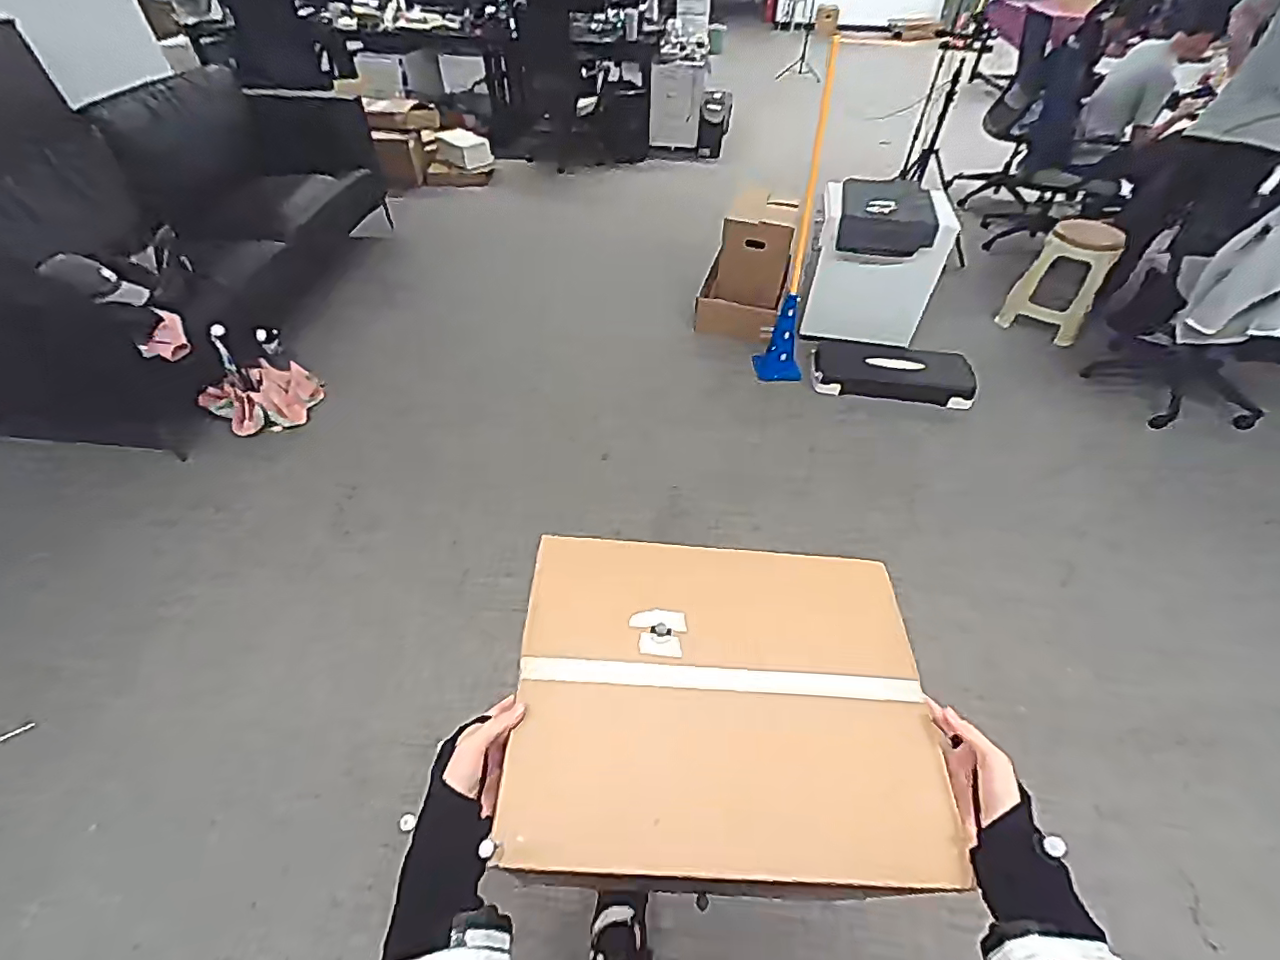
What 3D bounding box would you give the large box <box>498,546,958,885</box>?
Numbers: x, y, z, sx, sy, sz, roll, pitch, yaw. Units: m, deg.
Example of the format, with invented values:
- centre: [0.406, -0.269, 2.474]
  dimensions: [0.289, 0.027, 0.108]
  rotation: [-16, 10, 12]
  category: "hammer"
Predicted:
- centre: [0.073, 0.300, 0.663]
  dimensions: [0.408, 0.320, 0.320]
  rotation: [4, 50, -2]
  category: "large box"
